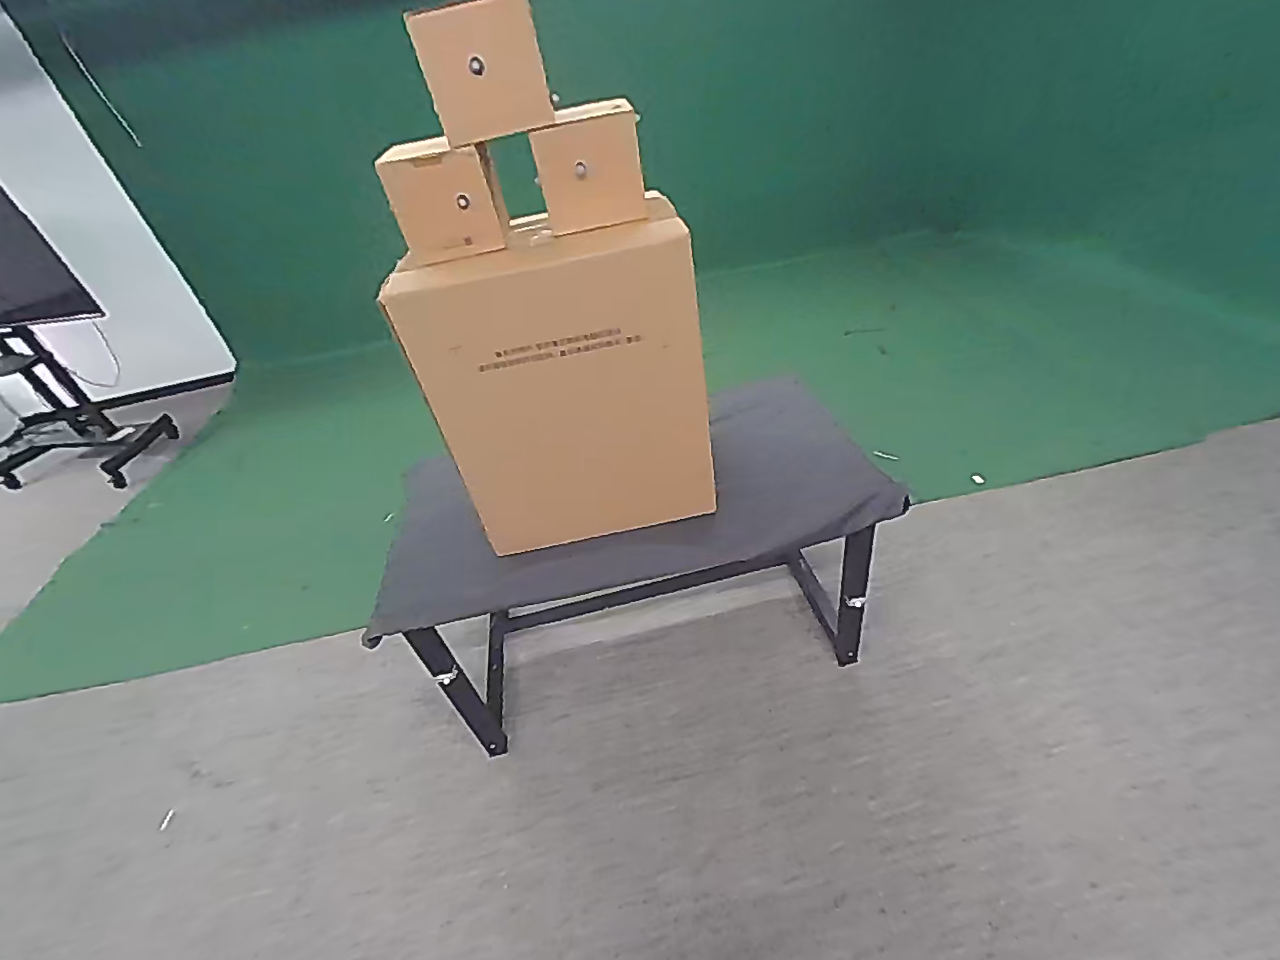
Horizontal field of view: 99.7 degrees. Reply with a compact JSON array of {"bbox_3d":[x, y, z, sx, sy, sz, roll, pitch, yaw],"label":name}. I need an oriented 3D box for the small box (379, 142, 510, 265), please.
[{"bbox_3d":[-0.341,-0.504,0.983,0.168,0.176,0.179,-11,39,-1],"label":"small box"}]

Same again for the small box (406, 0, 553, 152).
[{"bbox_3d":[-0.244,-0.654,0.876,0.179,0.176,0.168,-14,40,1],"label":"small box"}]

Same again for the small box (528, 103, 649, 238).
[{"bbox_3d":[-0.090,-0.559,0.982,0.179,0.176,0.168,-12,41,2],"label":"small box"}]
